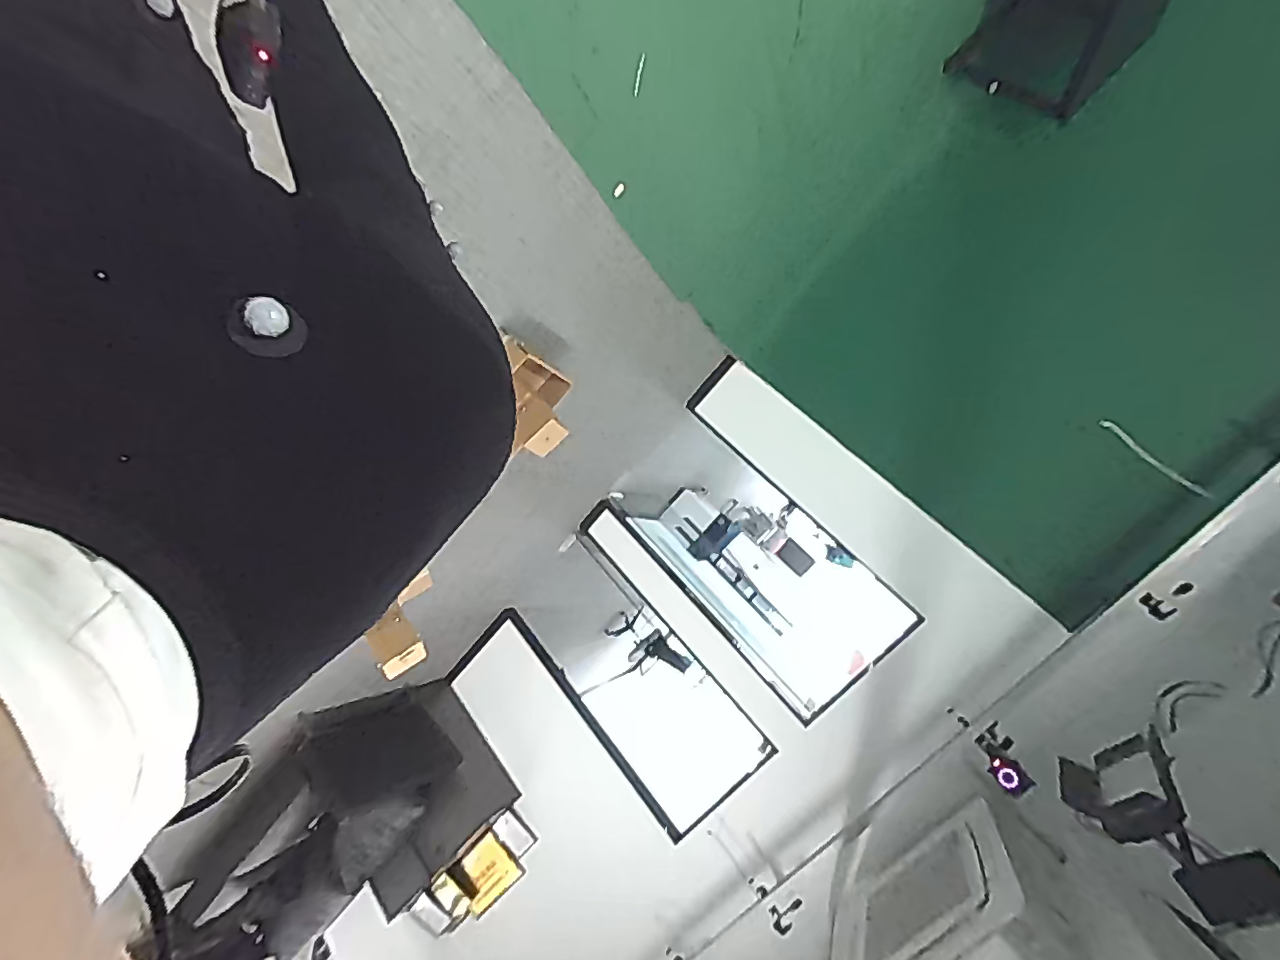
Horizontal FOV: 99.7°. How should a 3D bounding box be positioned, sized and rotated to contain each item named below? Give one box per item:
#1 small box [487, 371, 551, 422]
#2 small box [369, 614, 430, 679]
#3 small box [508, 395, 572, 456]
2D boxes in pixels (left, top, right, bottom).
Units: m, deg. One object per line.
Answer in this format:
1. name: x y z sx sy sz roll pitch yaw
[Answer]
1. small box: -0.529 -0.347 2.360 0.168 0.176 0.179 -43 157 7
2. small box: -0.999 0.687 2.248 0.168 0.176 0.179 -31 155 -30
3. small box: -0.428 -0.232 2.305 0.168 0.176 0.179 -43 158 3
